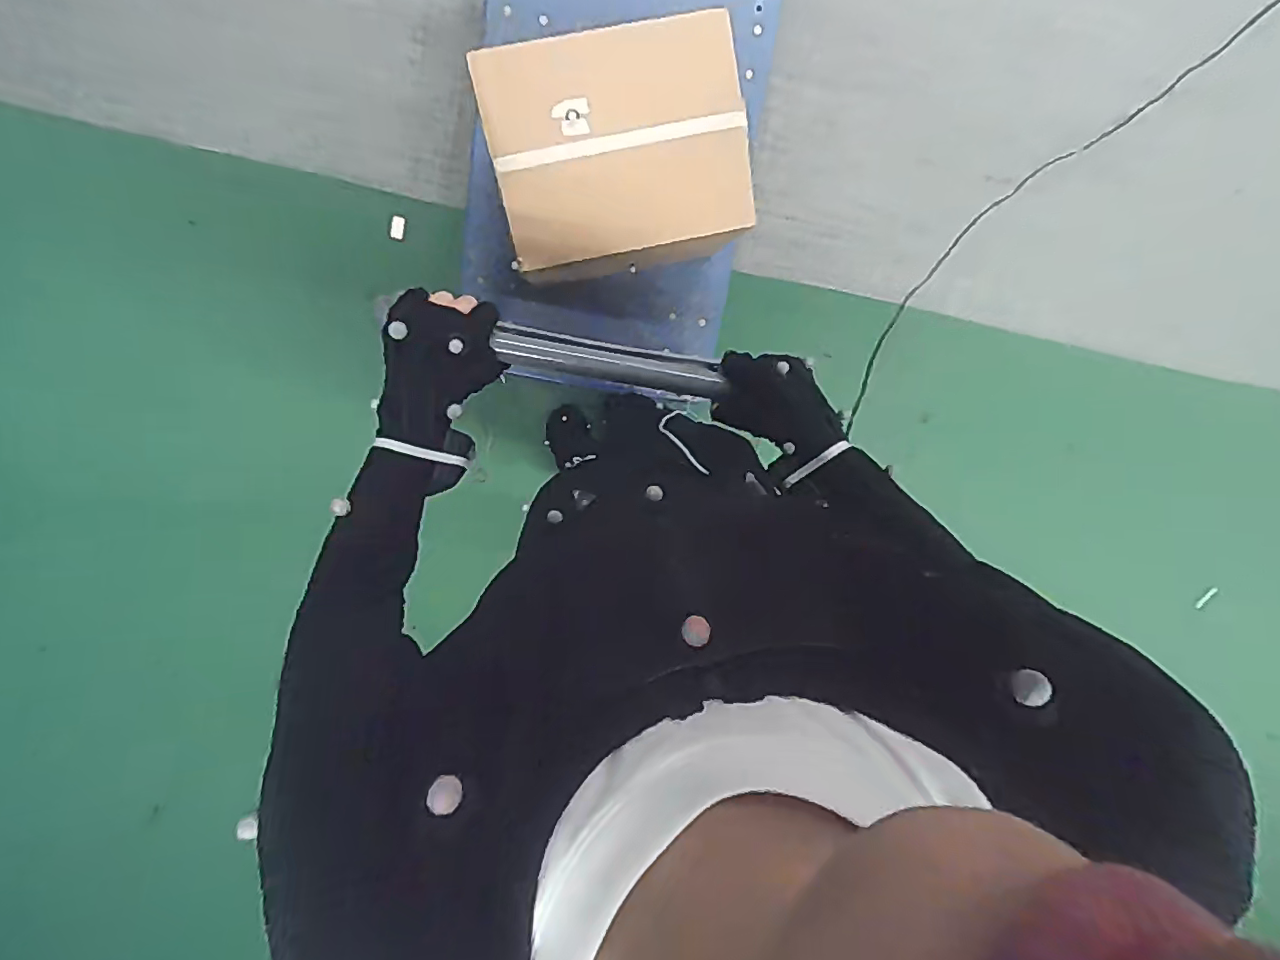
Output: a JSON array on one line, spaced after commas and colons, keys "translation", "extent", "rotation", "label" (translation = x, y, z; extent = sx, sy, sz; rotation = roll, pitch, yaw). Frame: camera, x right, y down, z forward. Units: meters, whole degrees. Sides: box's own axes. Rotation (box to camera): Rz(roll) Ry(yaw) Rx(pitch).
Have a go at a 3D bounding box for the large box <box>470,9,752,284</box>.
[{"translation": [-0.048, -0.571, 1.000], "extent": [0.408, 0.320, 0.320], "rotation": [-12, 105, -2], "label": "large box"}]
